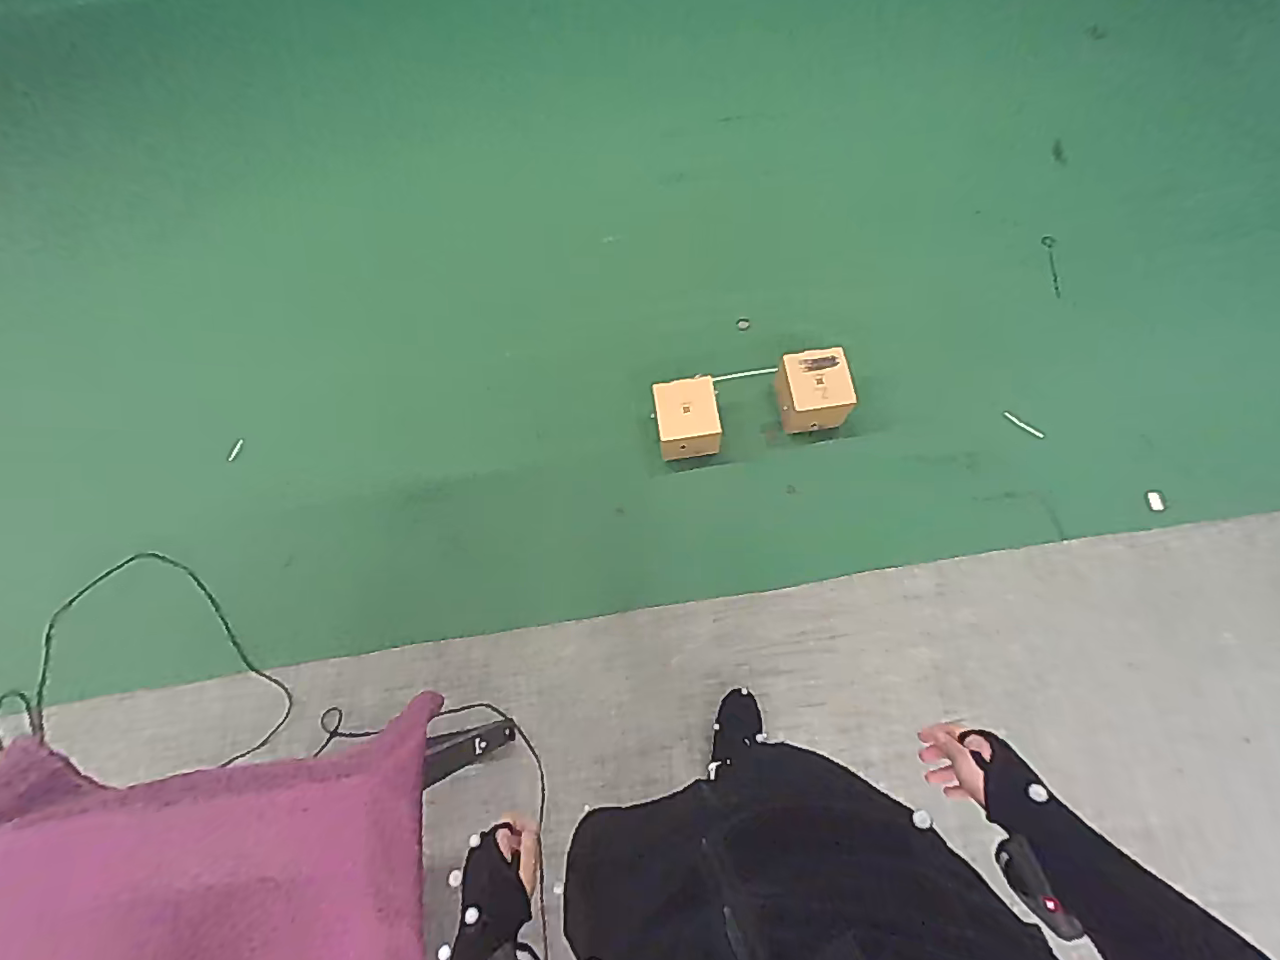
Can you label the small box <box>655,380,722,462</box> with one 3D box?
[{"bbox_3d":[0.139,-0.162,1.549,0.168,0.176,0.179,-9,71,2],"label":"small box"}]
